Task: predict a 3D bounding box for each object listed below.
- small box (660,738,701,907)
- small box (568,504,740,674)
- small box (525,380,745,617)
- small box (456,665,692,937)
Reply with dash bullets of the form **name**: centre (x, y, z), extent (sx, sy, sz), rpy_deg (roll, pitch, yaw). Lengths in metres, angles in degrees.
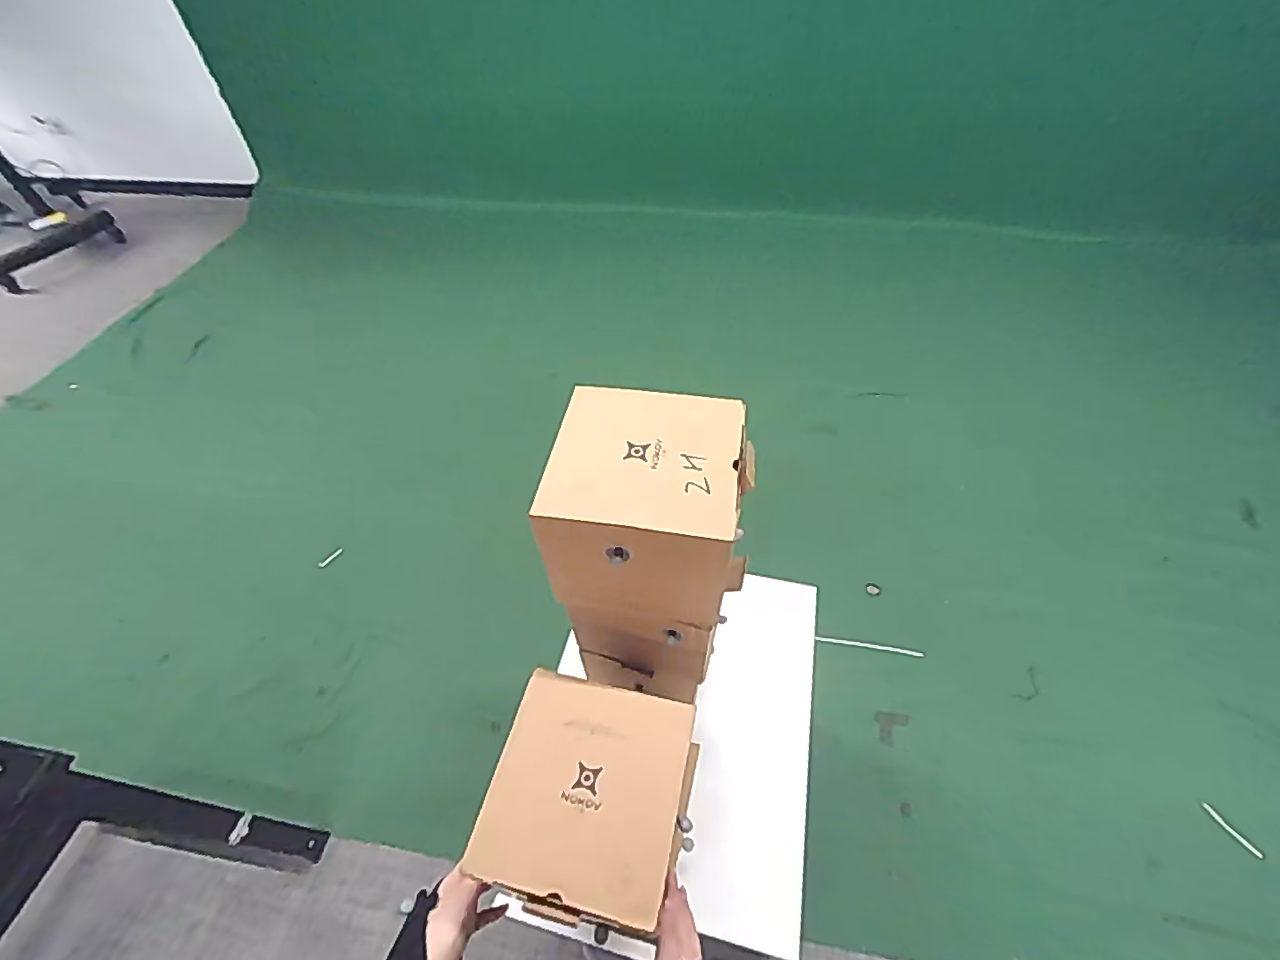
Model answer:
- **small box**: centre (-0.033, 0.401, 0.661), extent (0.179, 0.176, 0.168), rpy_deg (12, 51, 11)
- **small box**: centre (0.015, 0.122, 0.678), extent (0.179, 0.176, 0.168), rpy_deg (13, 53, 11)
- **small box**: centre (0.004, 0.022, 0.548), extent (0.179, 0.176, 0.168), rpy_deg (7, 52, 7)
- **small box**: centre (-0.047, 0.310, 0.527), extent (0.168, 0.176, 0.179), rpy_deg (10, 51, 9)
